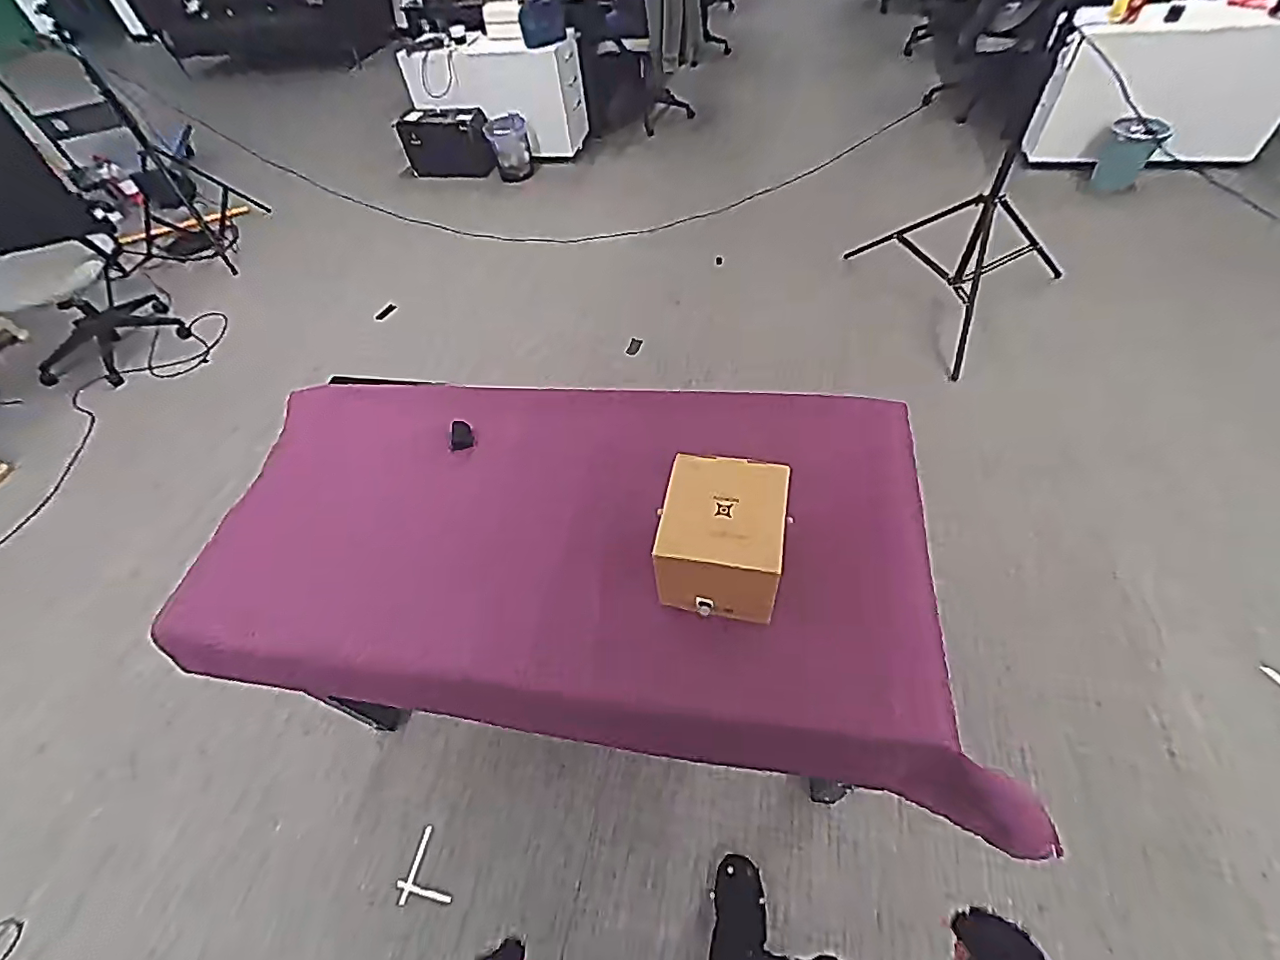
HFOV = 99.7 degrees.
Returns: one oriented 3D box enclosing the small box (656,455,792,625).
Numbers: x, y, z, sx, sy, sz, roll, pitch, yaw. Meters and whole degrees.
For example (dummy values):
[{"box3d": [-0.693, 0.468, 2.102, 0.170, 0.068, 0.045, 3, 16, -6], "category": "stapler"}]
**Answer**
[{"box3d": [0.125, 0.088, 0.797, 0.168, 0.176, 0.179, 6, 54, 13], "category": "small box"}]
